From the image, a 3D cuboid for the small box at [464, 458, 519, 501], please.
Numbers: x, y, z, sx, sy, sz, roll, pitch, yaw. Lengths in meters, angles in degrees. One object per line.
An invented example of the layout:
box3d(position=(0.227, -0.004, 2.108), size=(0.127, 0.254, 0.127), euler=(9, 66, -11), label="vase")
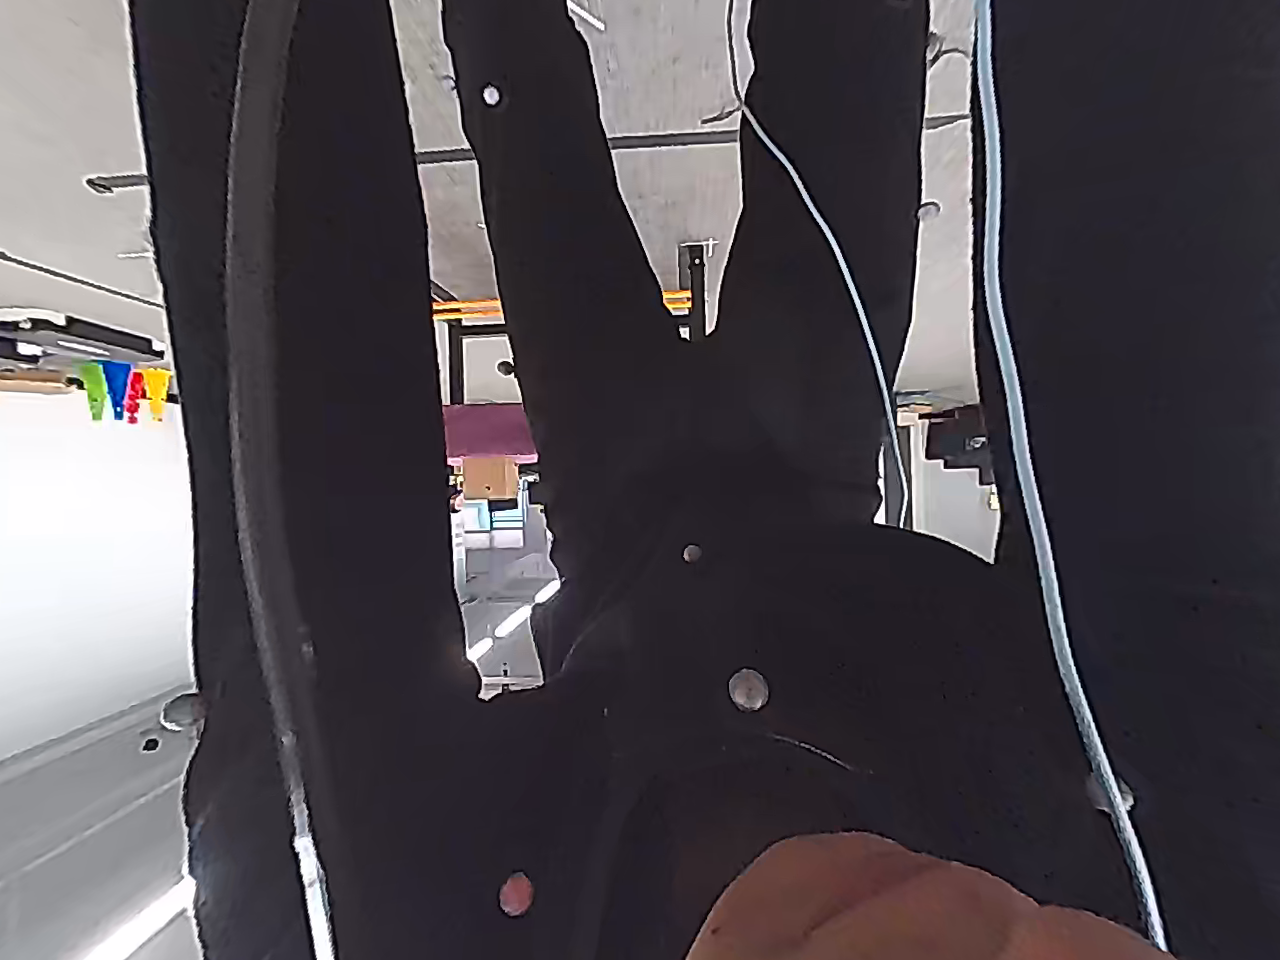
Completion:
box3d(position=(-0.606, -0.004, 2.207), size=(0.179, 0.176, 0.168), euler=(-1, 180, 5), label="small box")
